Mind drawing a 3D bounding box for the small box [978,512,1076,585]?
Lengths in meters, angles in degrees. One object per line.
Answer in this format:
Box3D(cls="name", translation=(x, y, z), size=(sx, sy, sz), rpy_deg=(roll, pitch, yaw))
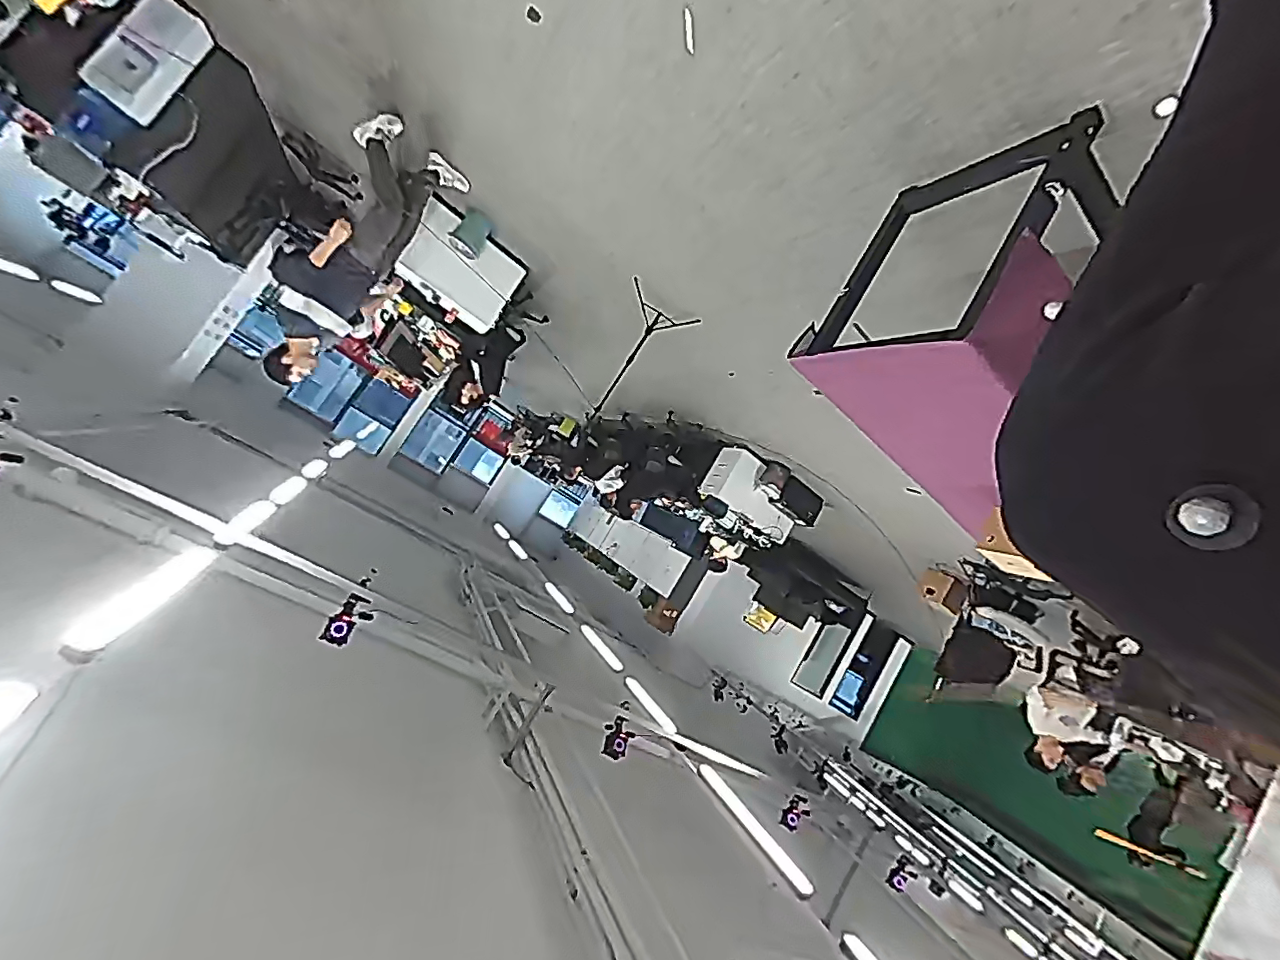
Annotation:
Box3D(cls="small box", translation=(1.276, 0.218, 1.783), size=(0.168, 0.176, 0.179), rpy_deg=(33, 173, -15))
